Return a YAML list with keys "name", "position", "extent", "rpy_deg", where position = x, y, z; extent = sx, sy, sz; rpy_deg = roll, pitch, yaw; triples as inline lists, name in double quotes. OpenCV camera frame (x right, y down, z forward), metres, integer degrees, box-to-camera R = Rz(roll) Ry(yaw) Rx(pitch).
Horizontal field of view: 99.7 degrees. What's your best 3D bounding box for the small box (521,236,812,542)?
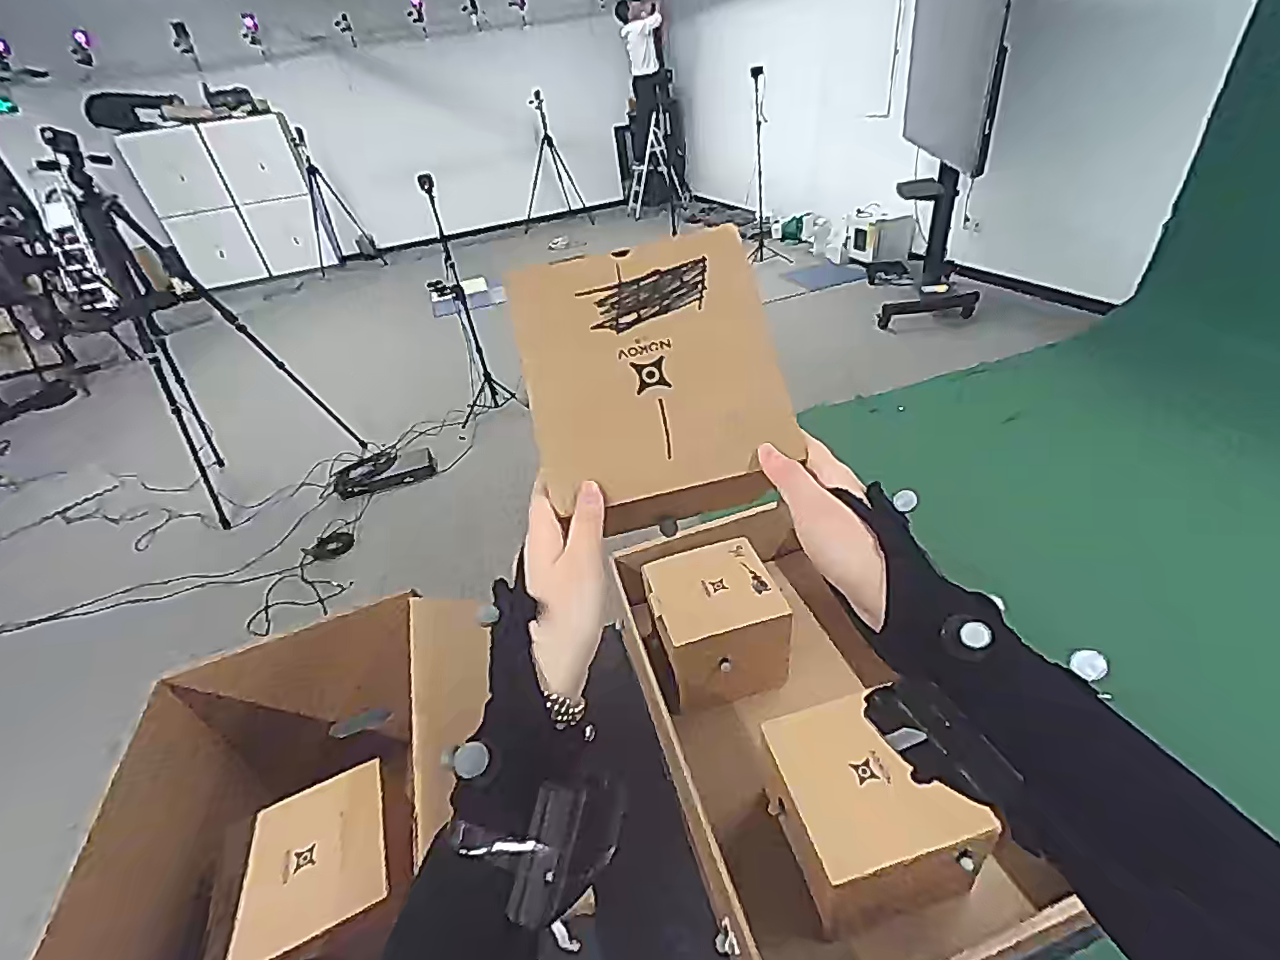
- name: "small box"
  position: [0.014, -0.057, 0.437]
  extent: [0.168, 0.176, 0.179]
  rpy_deg: [-13, 79, -2]
